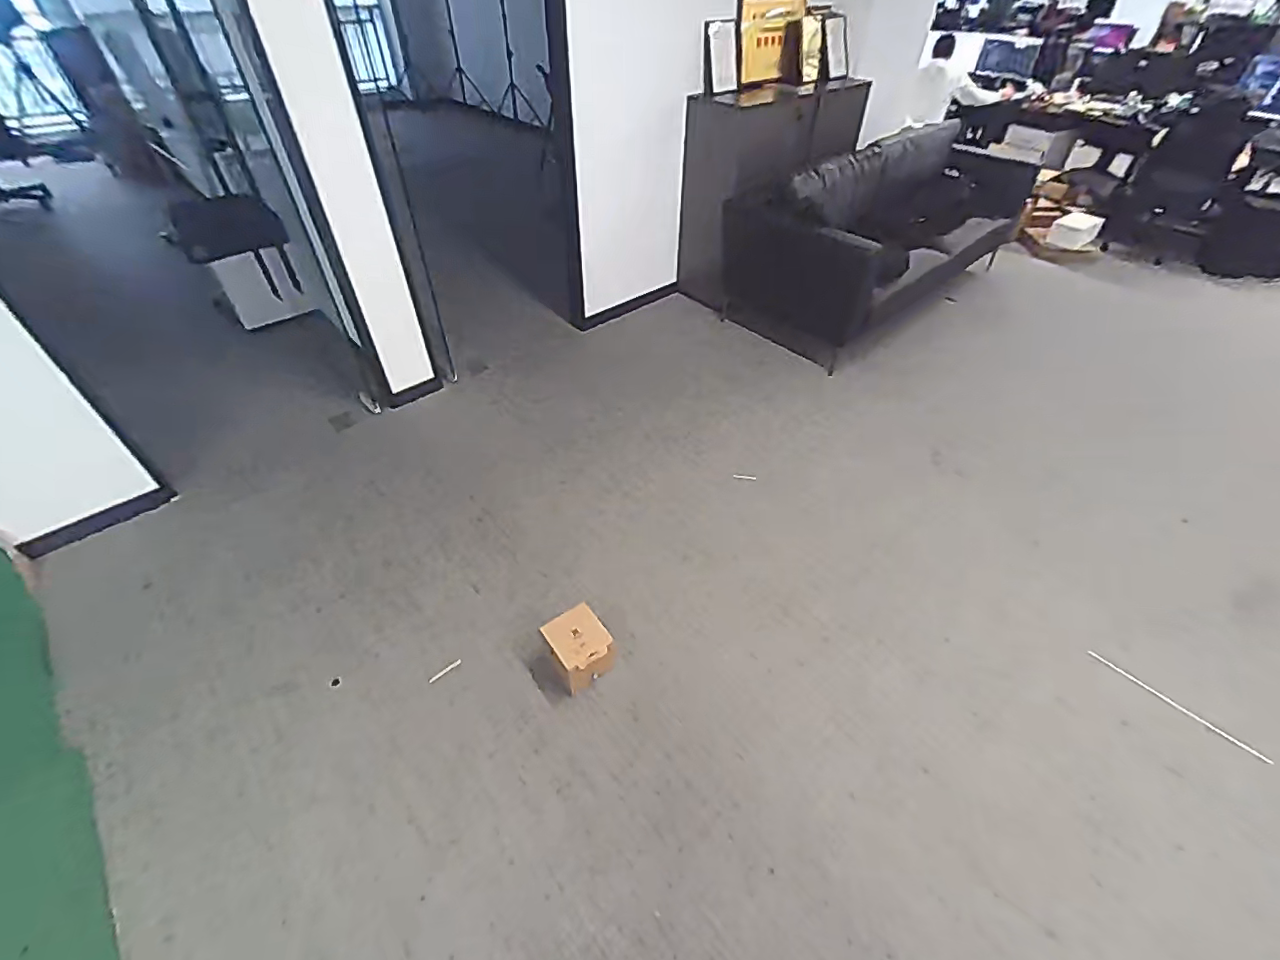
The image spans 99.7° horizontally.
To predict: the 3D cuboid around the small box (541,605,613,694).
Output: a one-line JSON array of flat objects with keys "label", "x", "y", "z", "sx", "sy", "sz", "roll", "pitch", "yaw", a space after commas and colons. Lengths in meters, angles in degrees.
[{"label": "small box", "x": -0.194, "y": 0.529, "z": 1.685, "sx": 0.168, "sy": 0.176, "sz": 0.179, "roll": -23, "pitch": 50, "yaw": -20}]
